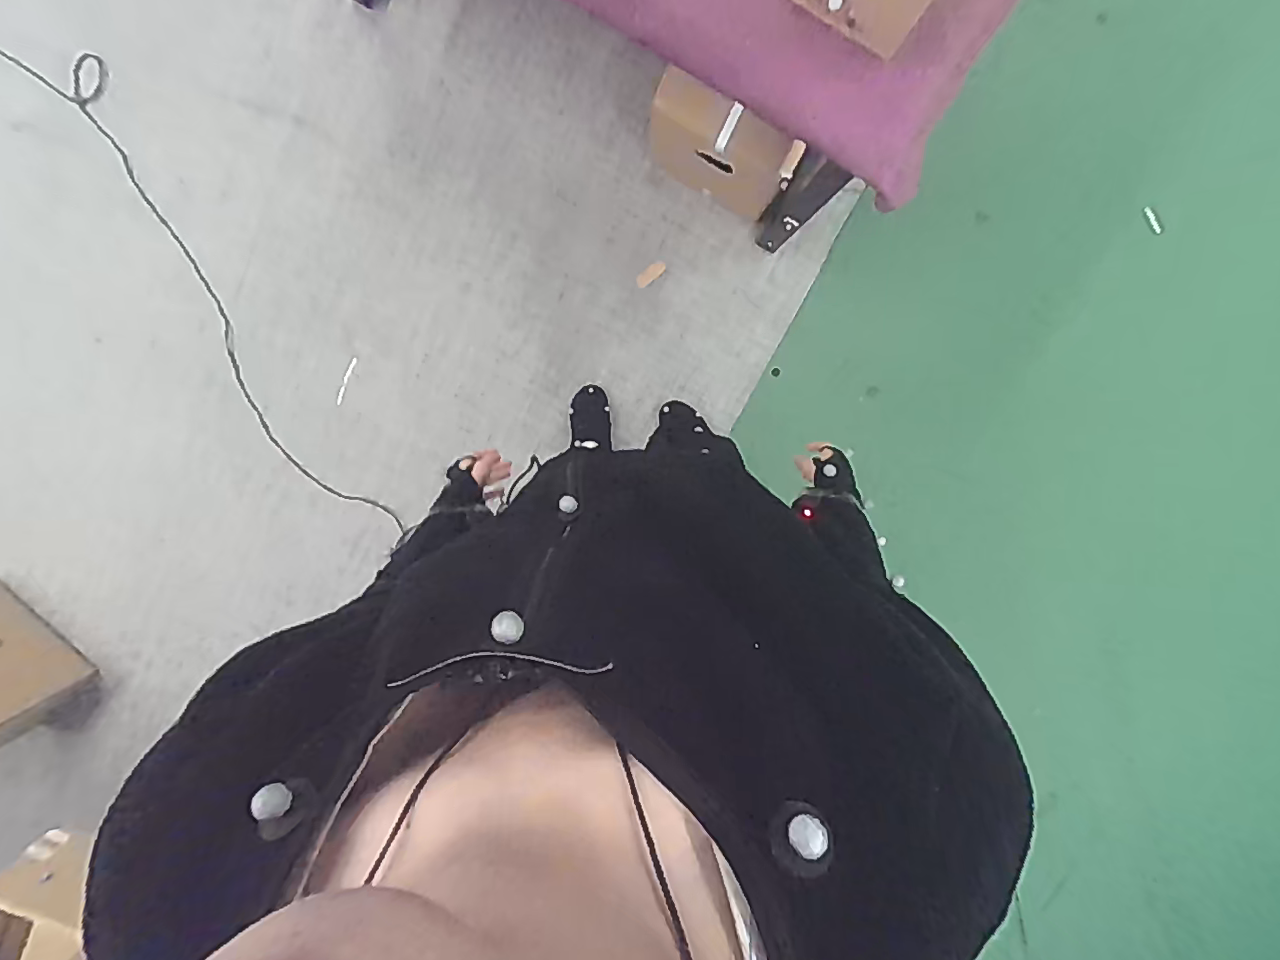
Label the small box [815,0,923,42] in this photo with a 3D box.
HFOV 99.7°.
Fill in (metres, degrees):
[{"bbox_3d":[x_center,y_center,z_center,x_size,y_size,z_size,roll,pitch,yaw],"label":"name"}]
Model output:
[{"bbox_3d":[0.268,-0.616,0.549,0.168,0.176,0.179,28,100,-4],"label":"small box"}]
